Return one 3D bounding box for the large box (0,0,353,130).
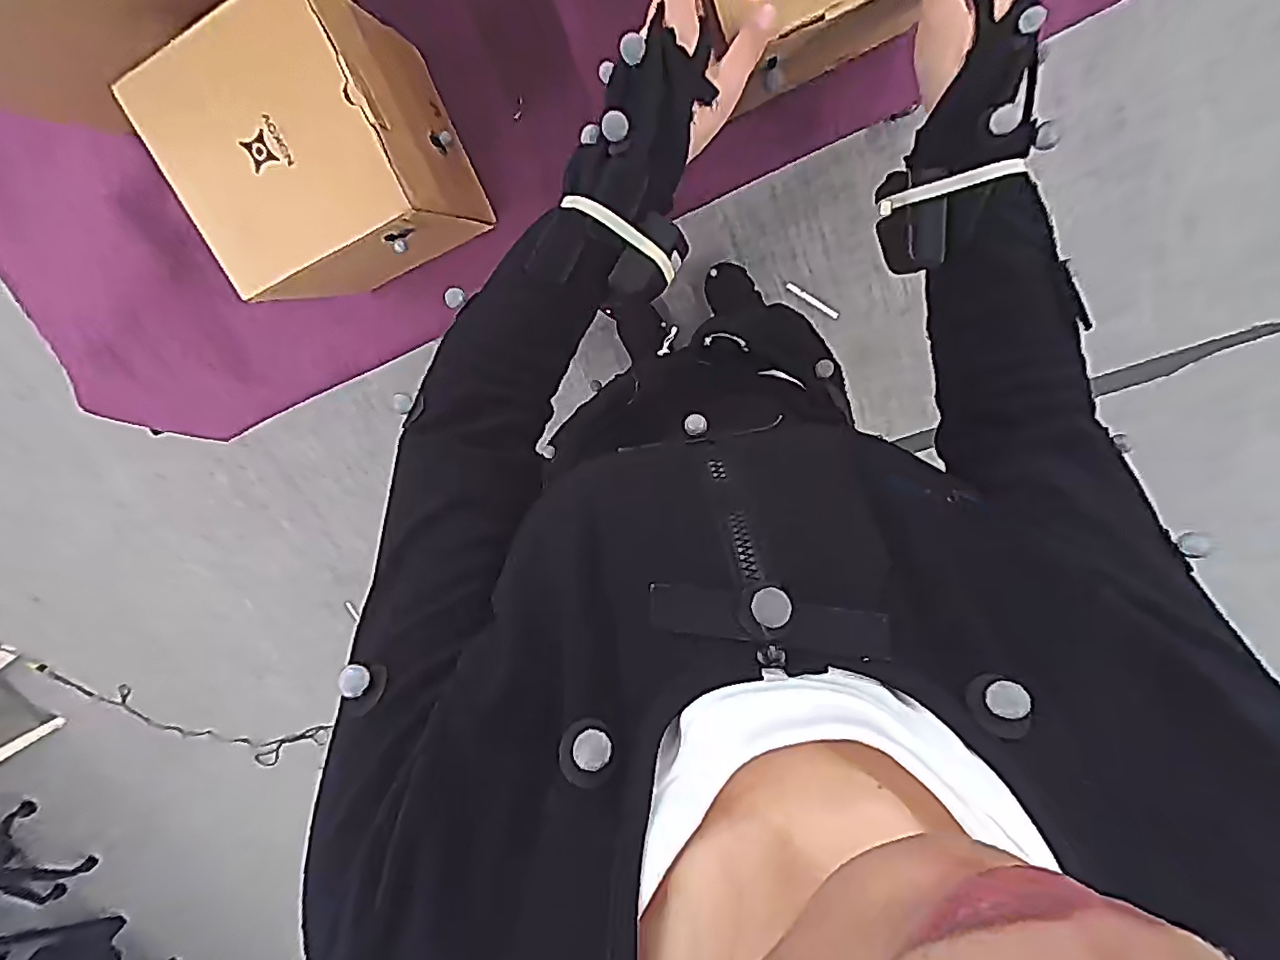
[{"bbox_3d":[-0.474,-0.517,0.330,0.320,0.320,0.408,-18,112,14],"label":"large box"}]
